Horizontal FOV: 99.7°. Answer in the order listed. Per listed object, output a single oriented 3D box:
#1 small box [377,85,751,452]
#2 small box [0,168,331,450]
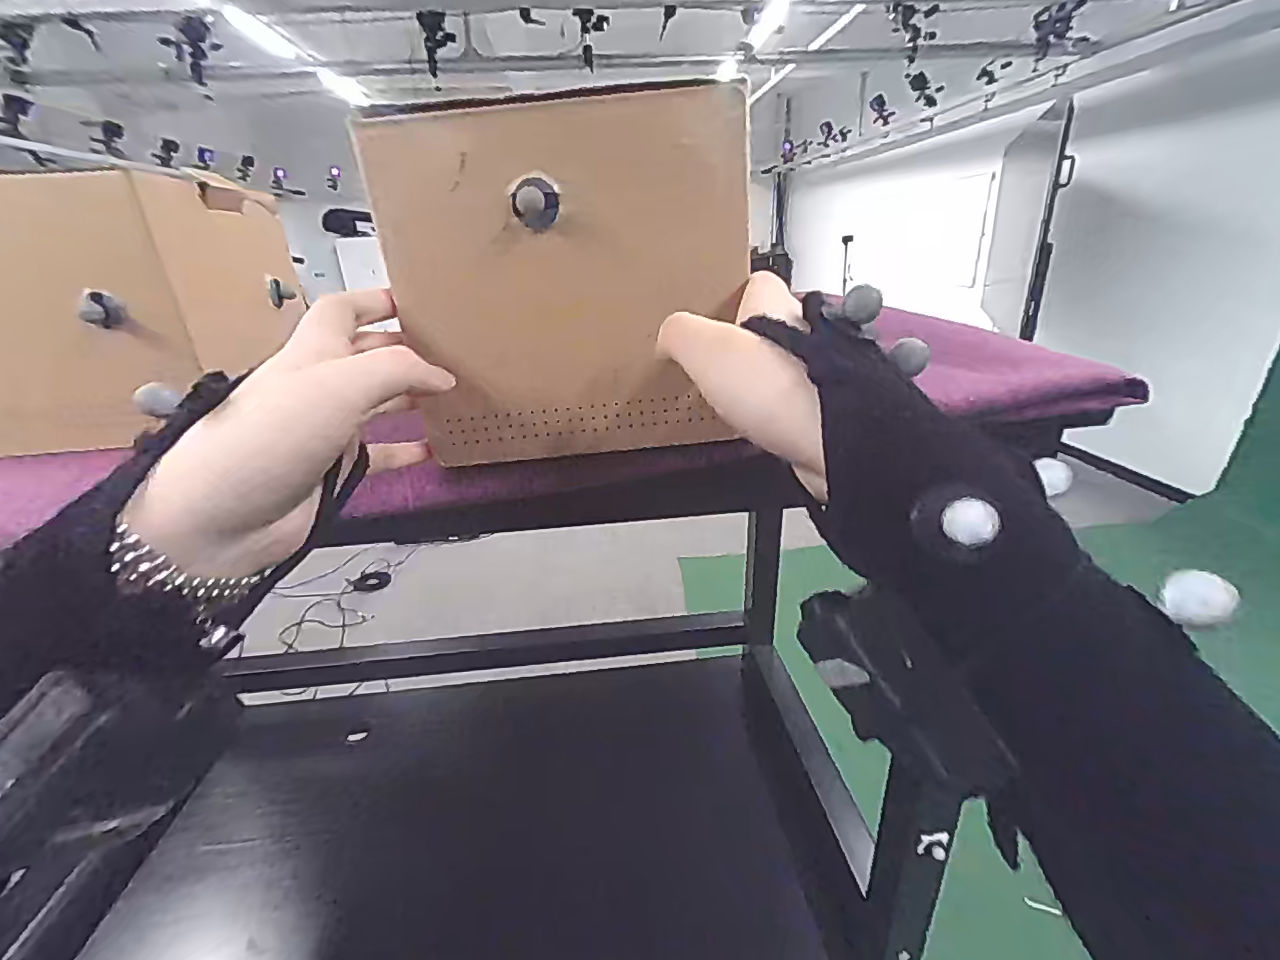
[{"bbox_3d":[-0.030,-0.122,0.347,0.179,0.176,0.168,-5,22,0],"label":"small box"},{"bbox_3d":[-0.372,-0.130,0.415,0.179,0.176,0.168,-5,22,-5],"label":"small box"}]
